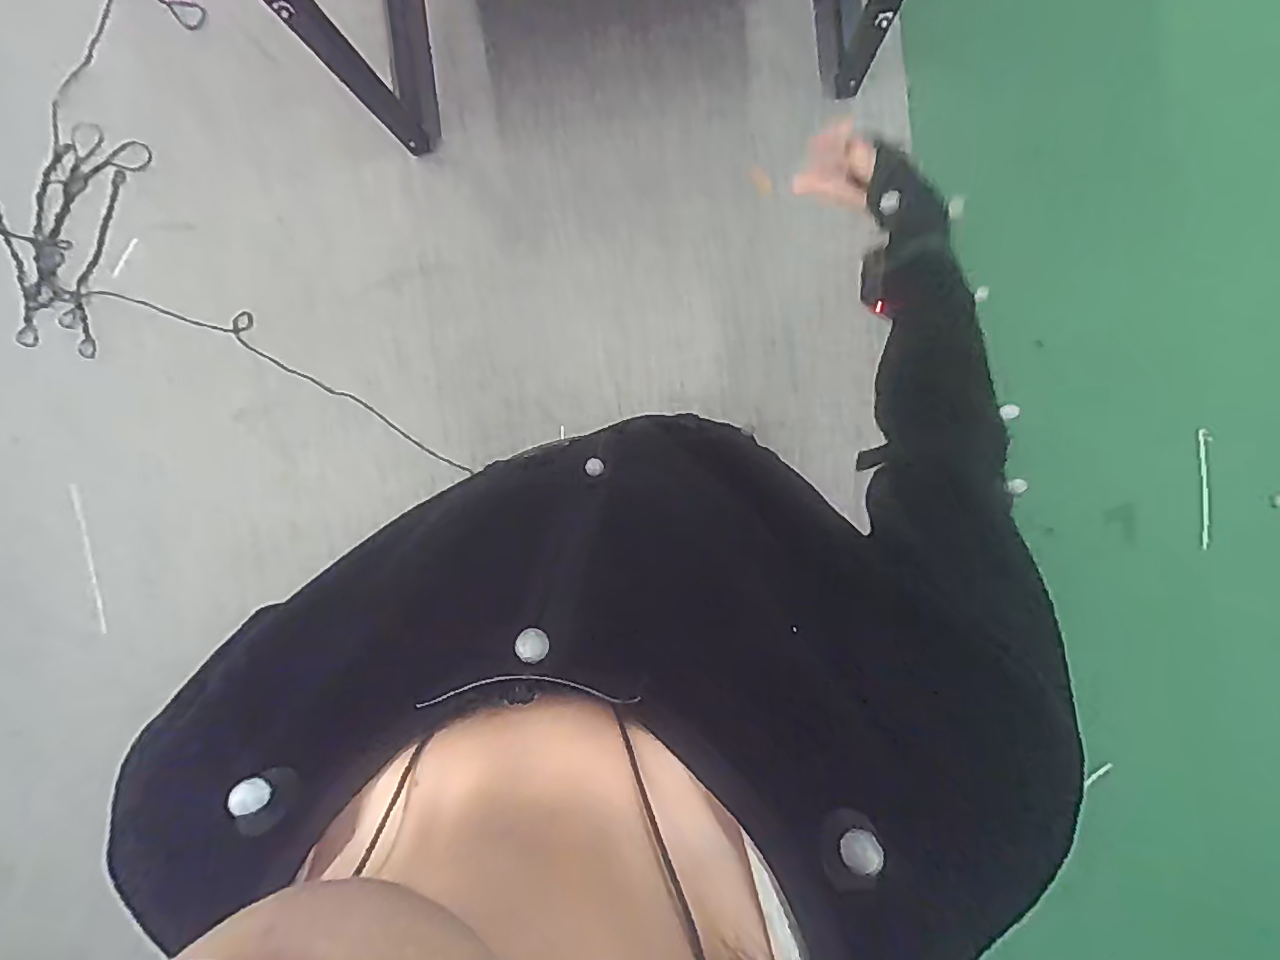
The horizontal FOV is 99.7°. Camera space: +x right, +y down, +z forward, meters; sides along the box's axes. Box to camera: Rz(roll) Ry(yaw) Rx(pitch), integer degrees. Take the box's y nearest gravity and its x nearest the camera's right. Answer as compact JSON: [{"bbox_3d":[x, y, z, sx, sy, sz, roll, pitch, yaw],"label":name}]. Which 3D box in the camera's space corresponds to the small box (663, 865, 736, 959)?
[{"bbox_3d":[0.142,1.091,1.326,0.168,0.176,0.179,1,95,5],"label":"small box"}]
